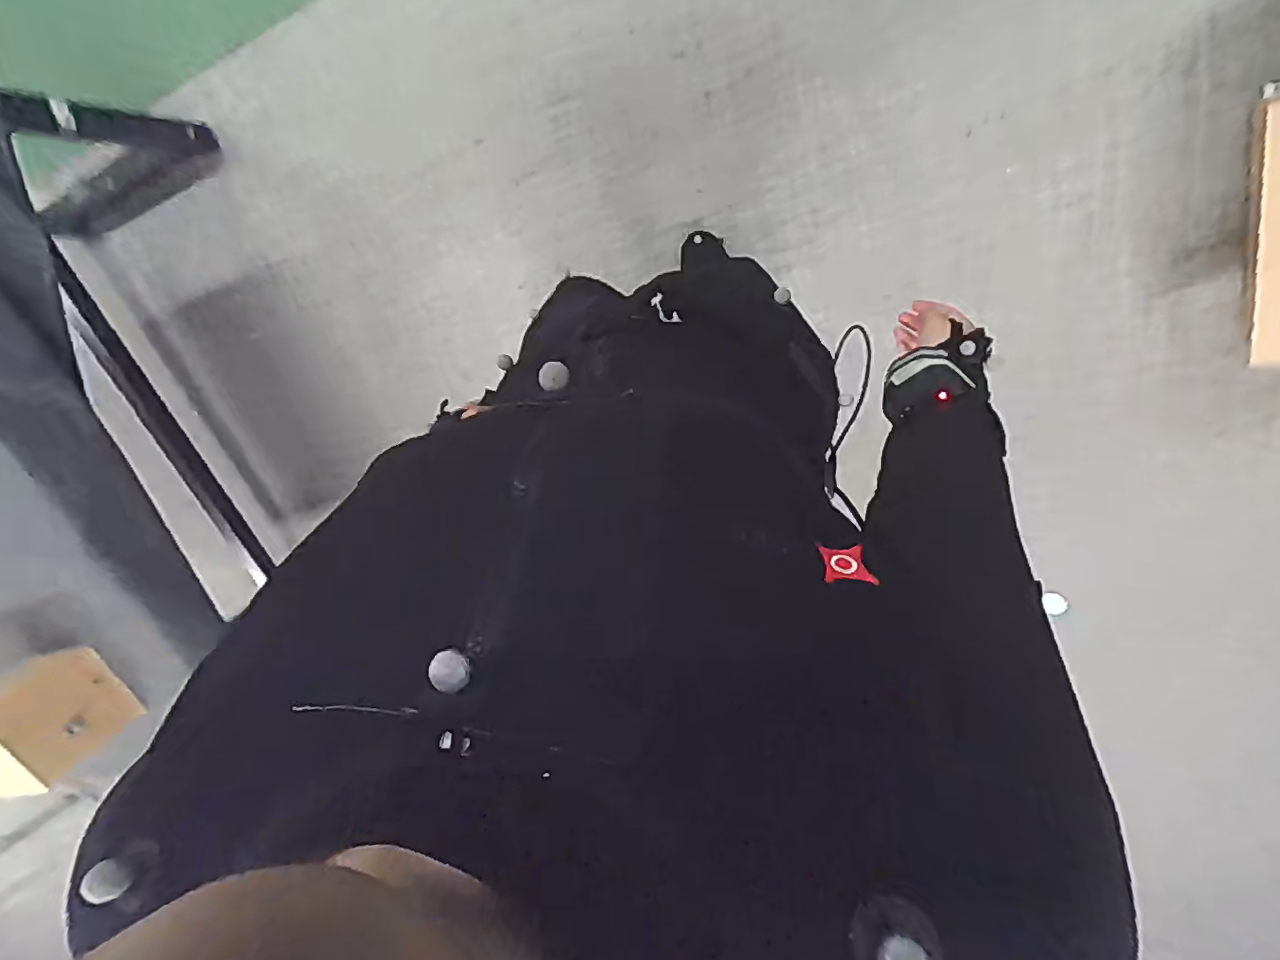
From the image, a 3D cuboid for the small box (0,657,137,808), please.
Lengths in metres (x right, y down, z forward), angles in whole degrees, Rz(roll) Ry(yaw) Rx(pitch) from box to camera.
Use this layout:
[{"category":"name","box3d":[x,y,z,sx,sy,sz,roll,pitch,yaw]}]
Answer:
[{"category":"small box","box3d":[-1.032,0.426,0.927,0.179,0.176,0.168,-16,111,18]}]
